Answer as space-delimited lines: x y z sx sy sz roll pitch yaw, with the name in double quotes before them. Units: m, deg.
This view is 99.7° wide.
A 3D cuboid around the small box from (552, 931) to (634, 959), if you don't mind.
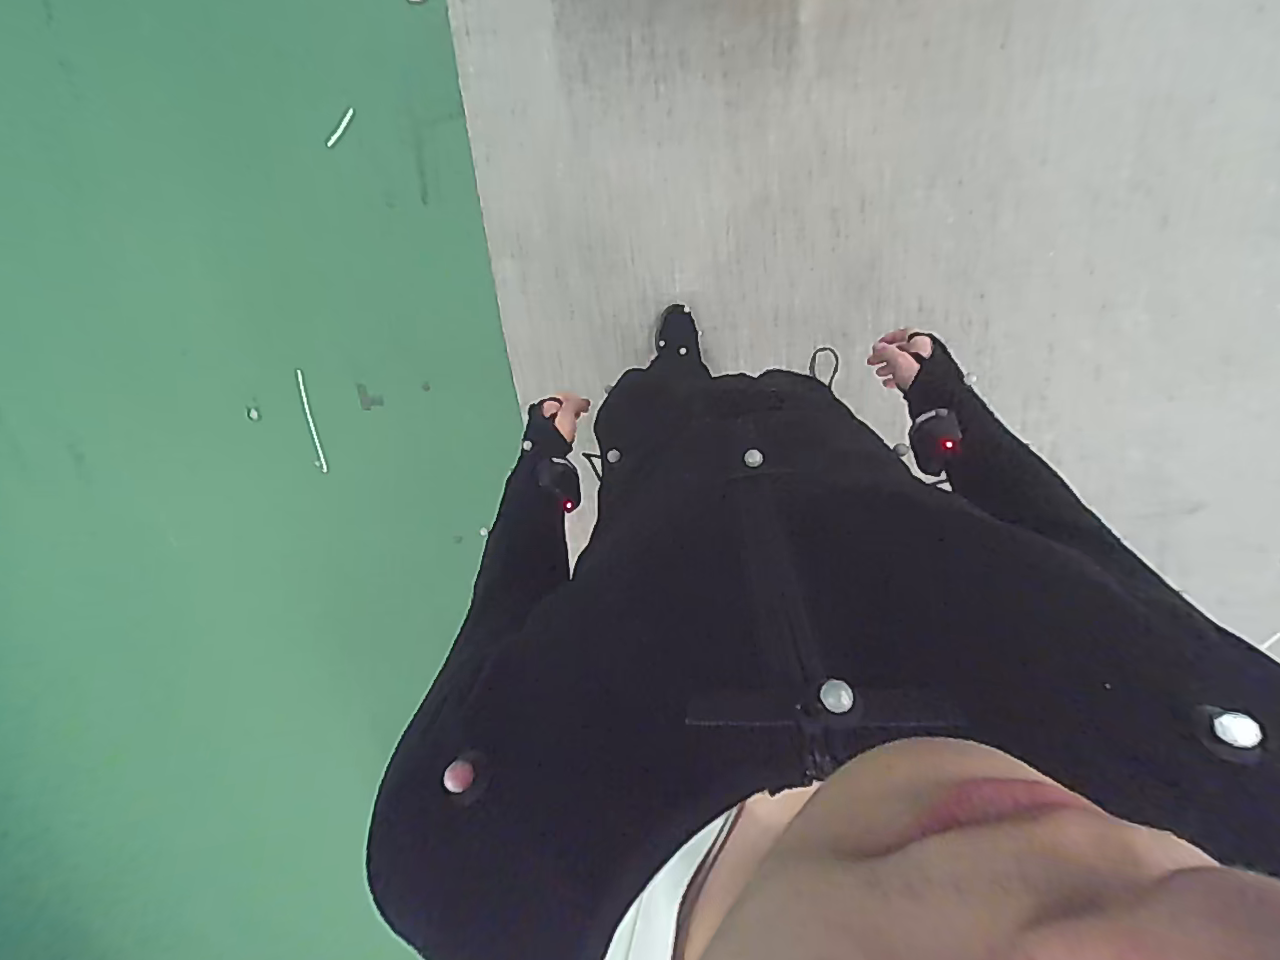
"small box" -0.096 1.087 1.121 0.168 0.176 0.179 -7 106 3
